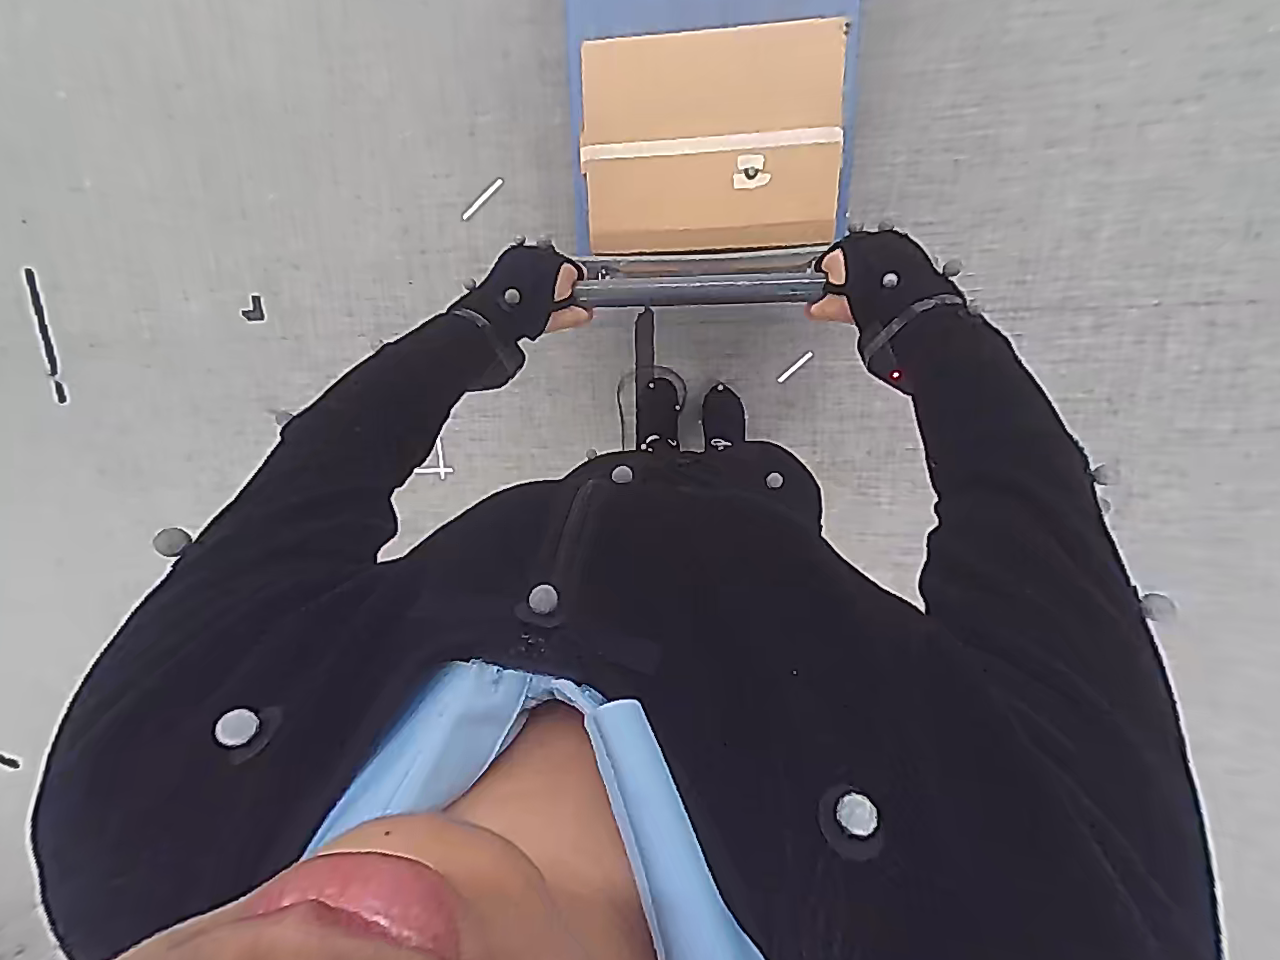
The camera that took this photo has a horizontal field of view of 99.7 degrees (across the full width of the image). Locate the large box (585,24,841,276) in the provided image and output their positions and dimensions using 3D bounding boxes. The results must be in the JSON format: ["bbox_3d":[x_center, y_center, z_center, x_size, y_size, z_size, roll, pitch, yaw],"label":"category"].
[{"bbox_3d":[0.130,-0.575,1.019,0.408,0.320,0.320,0,106,7],"label":"large box"}]
